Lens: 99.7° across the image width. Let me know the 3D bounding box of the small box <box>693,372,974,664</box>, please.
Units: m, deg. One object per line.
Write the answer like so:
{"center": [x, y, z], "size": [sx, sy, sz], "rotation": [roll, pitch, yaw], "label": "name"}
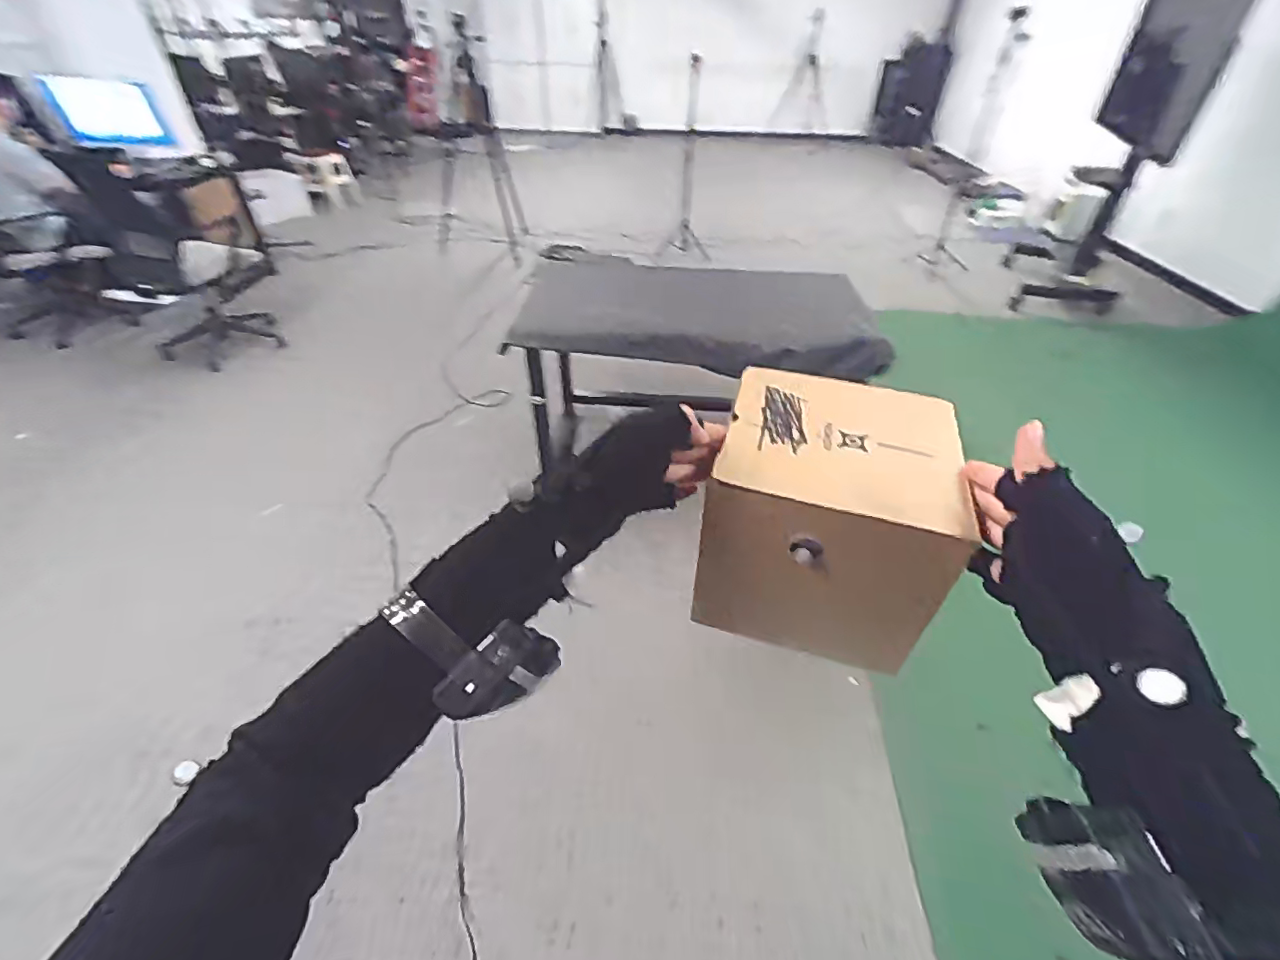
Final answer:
{"center": [0.150, 0.031, 0.465], "size": [0.179, 0.176, 0.168], "rotation": [13, 43, 12], "label": "small box"}
